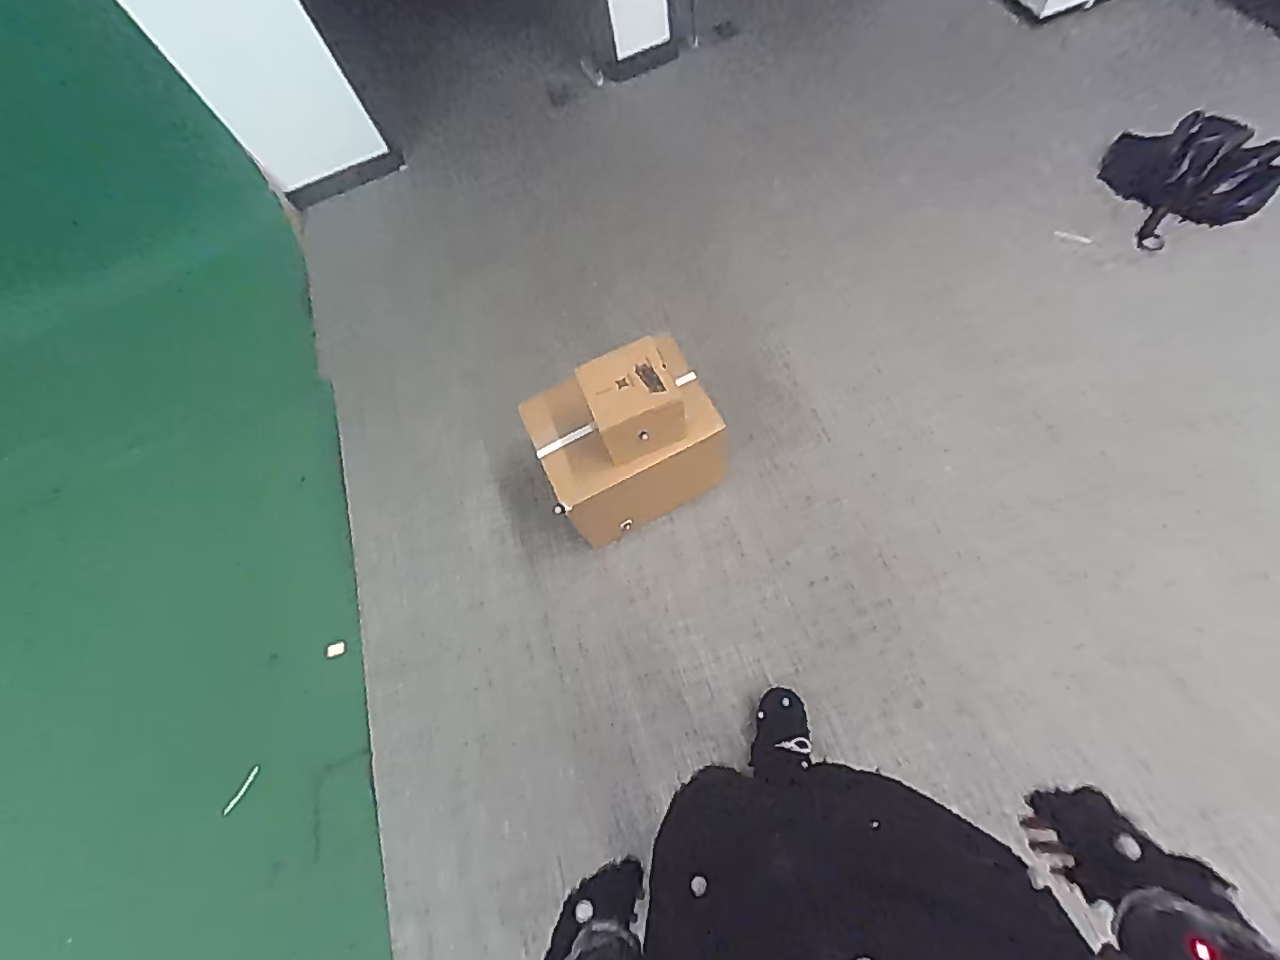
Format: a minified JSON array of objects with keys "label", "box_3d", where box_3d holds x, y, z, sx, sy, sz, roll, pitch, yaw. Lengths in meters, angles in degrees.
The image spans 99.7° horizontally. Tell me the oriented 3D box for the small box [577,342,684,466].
[{"label":"small box","box_3d":[-0.013,-0.157,1.157,0.179,0.176,0.168,-23,66,0]}]
